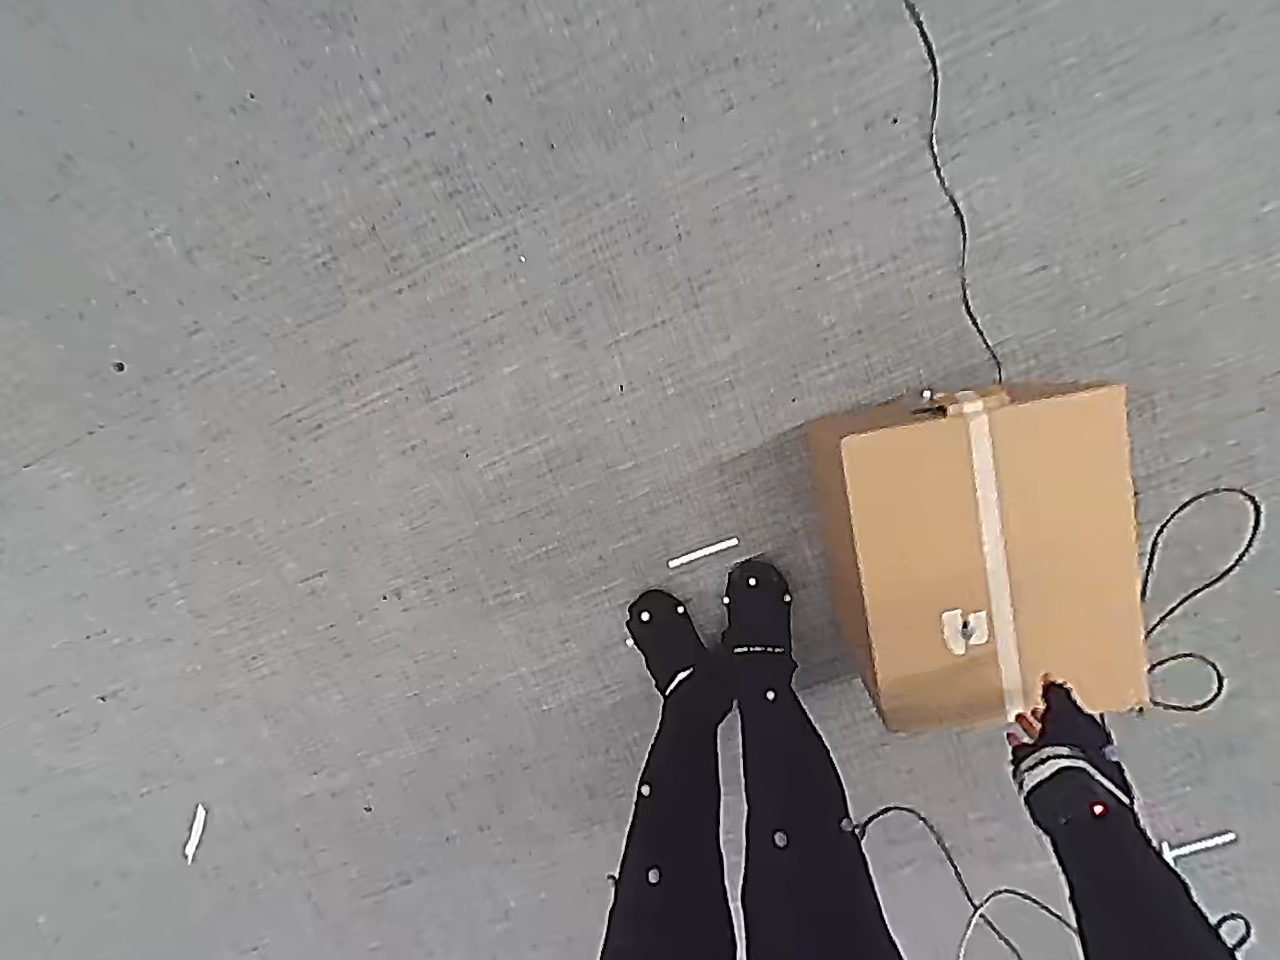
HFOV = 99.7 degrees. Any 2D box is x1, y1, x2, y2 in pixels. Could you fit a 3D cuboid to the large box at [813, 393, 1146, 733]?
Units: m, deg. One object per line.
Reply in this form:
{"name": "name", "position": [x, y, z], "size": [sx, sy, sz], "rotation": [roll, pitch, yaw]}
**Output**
{"name": "large box", "position": [0.473, 0.100, 0.826], "size": [0.320, 0.320, 0.408], "rotation": [-10, 99, 12]}
